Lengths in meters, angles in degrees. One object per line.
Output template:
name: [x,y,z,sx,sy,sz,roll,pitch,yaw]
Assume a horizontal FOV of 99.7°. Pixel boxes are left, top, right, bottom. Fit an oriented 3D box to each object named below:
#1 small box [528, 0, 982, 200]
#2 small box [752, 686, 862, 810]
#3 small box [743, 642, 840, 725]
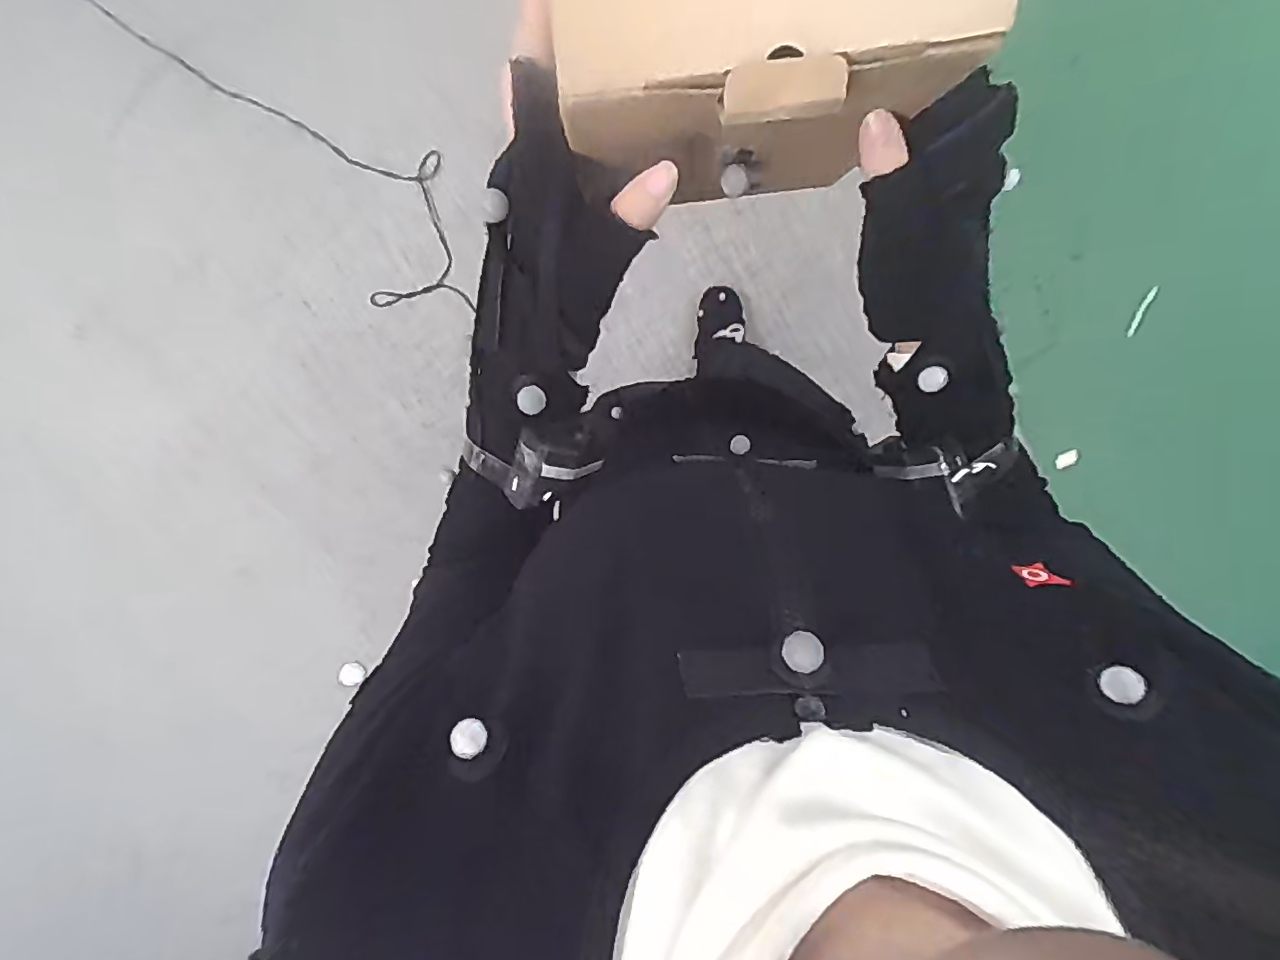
small box: [0.035,-0.249,0.258,0.168,0.176,0.179,-7,103,0]
small box: [0.378,0.611,1.260,0.168,0.176,0.179,-32,102,12]
small box: [0.384,0.563,1.413,0.179,0.176,0.168,-34,100,9]
